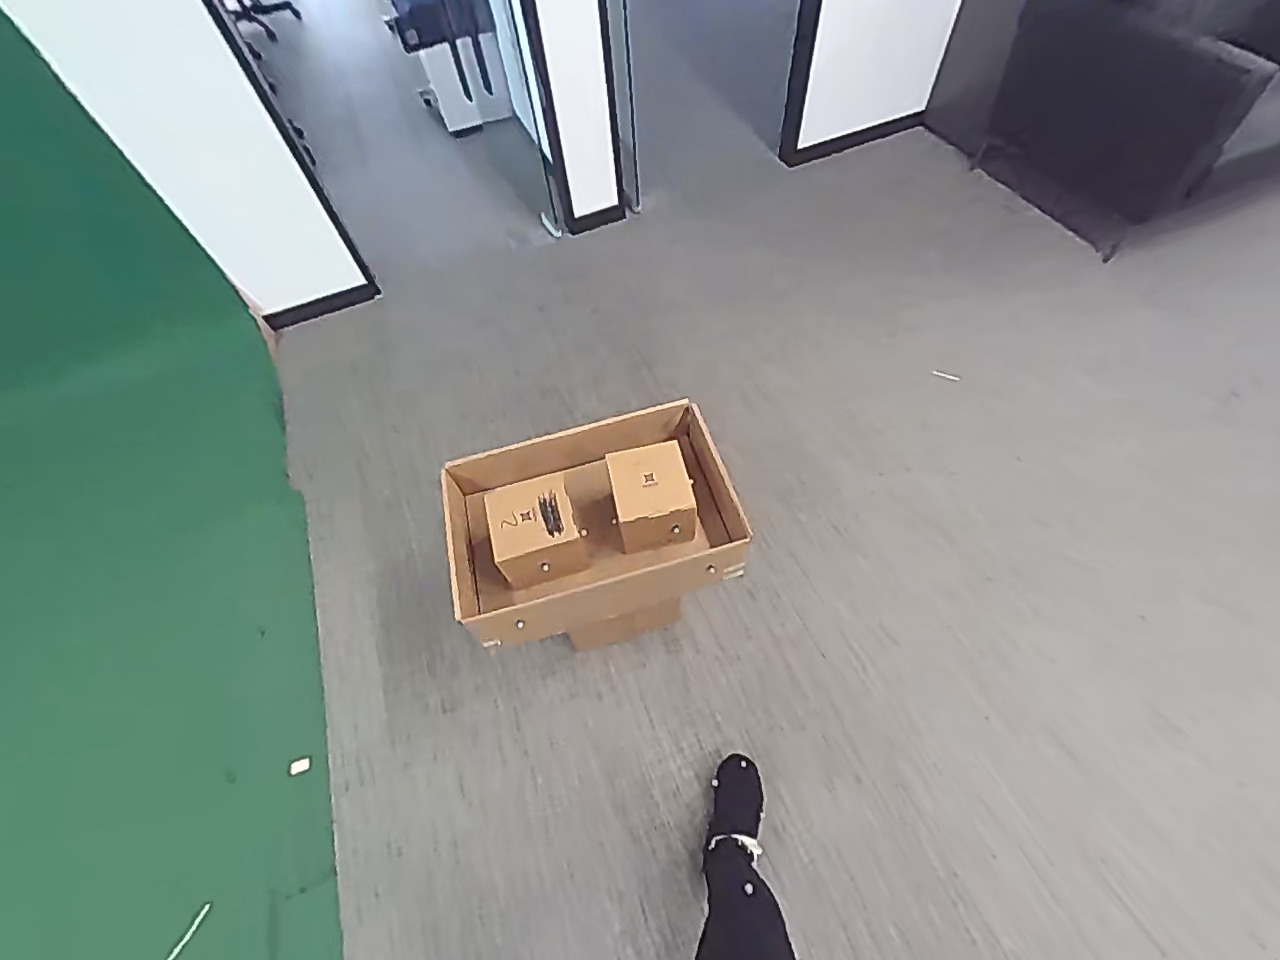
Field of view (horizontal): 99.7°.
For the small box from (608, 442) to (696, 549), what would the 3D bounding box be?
[{"bbox_3d":[0.030,0.044,1.225,0.168,0.176,0.179,-12,59,-2],"label":"small box"}]
